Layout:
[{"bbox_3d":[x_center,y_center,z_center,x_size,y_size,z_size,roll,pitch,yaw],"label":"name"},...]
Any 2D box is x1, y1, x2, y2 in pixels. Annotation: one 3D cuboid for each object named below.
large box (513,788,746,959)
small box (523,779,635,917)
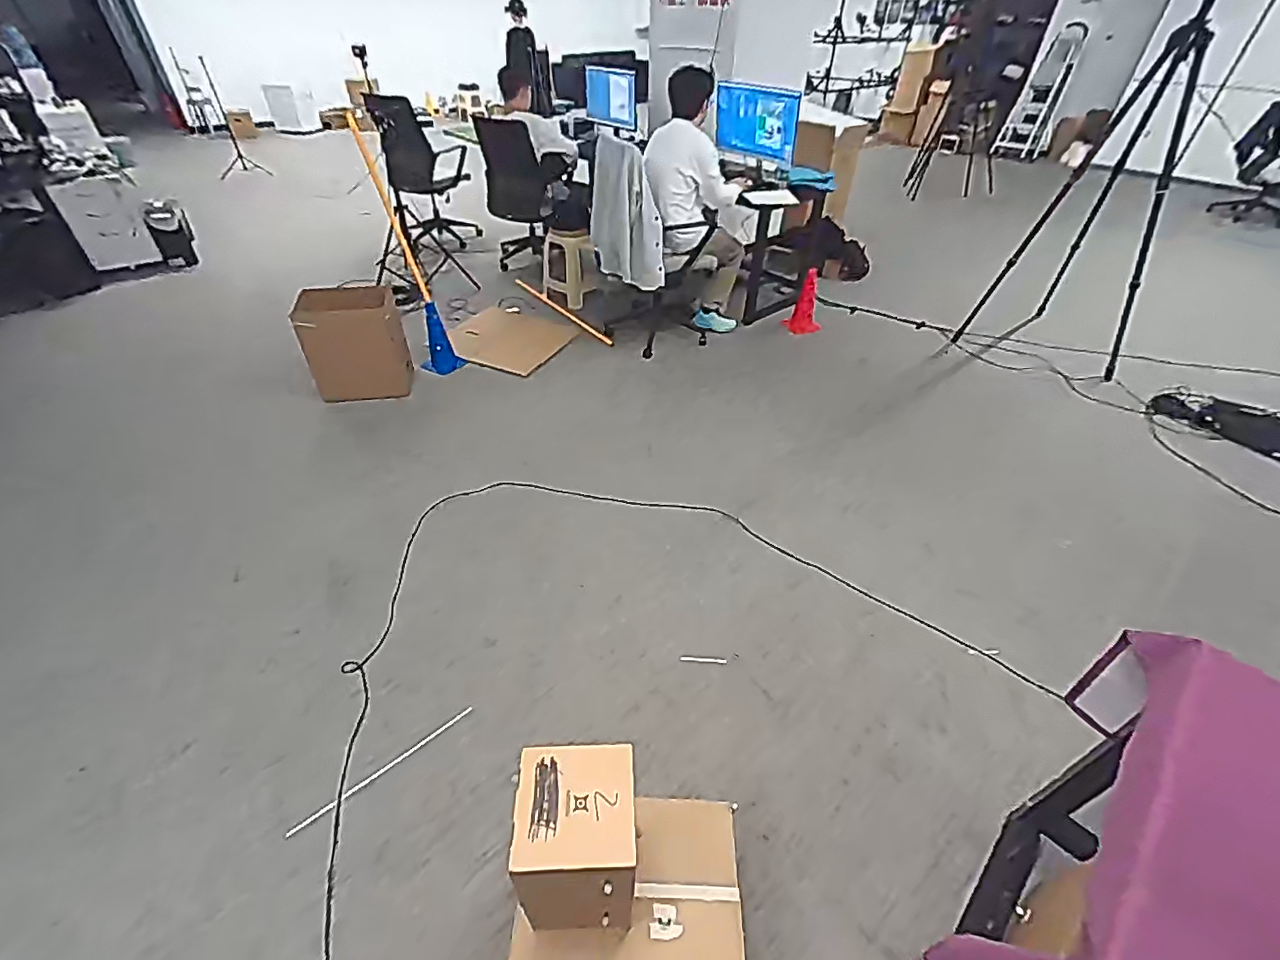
[{"bbox_3d":[-0.020,0.846,1.096,0.408,0.320,0.320,3,43,0],"label":"large box"},{"bbox_3d":[-0.099,0.646,0.950,0.179,0.176,0.168,-1,40,-1],"label":"small box"}]
